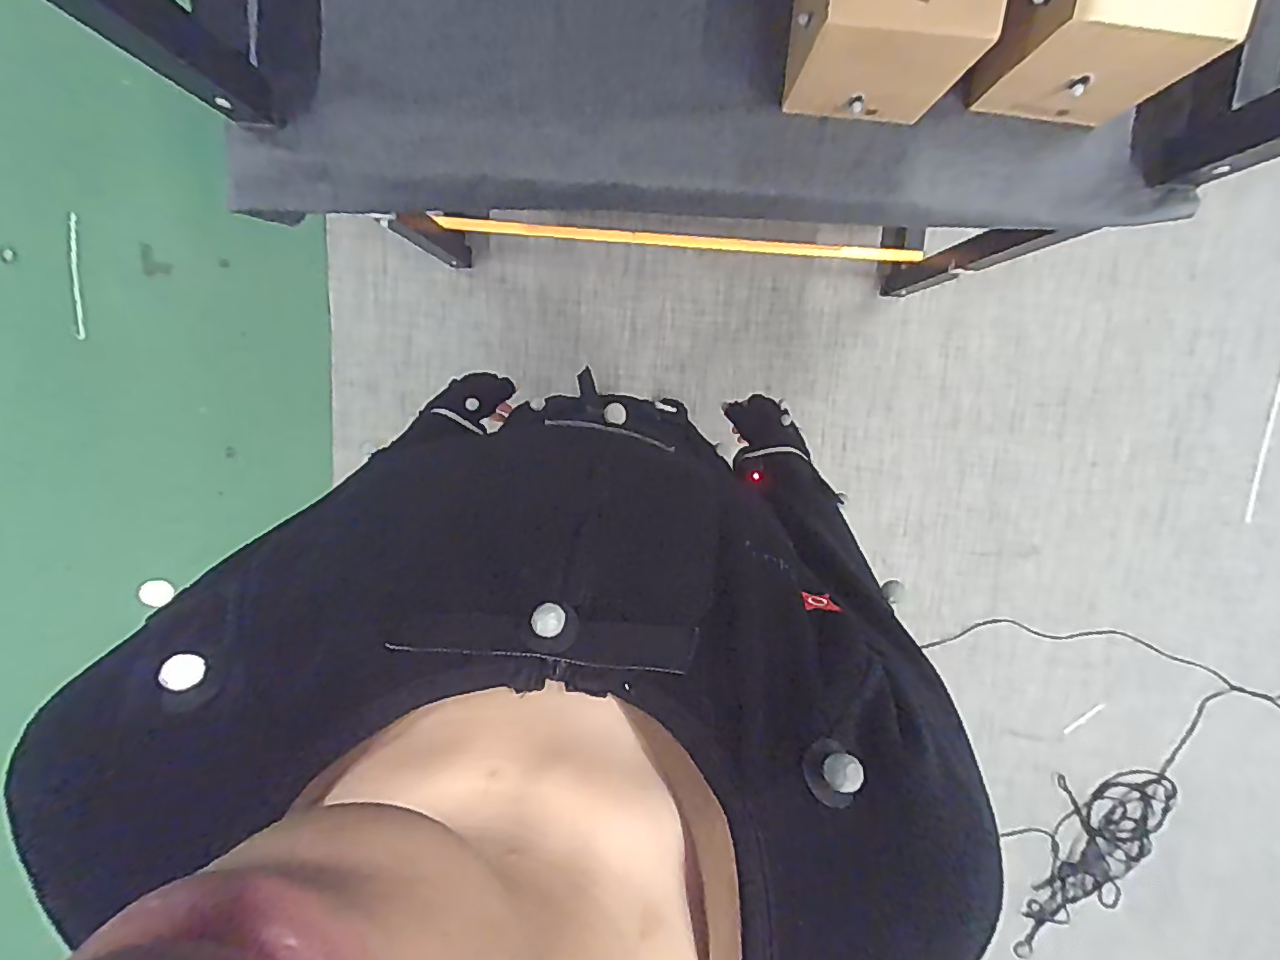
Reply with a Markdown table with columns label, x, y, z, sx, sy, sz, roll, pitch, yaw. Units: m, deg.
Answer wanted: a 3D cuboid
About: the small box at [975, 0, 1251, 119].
| label | x | y | z | sx | sy | sz | roll | pitch | yaw |
| --- | --- | --- | --- | --- | --- | --- | --- | --- | --- |
| small box | 0.493 | -0.518 | 0.570 | 0.168 | 0.176 | 0.179 | 7 | 99 | -1 |
